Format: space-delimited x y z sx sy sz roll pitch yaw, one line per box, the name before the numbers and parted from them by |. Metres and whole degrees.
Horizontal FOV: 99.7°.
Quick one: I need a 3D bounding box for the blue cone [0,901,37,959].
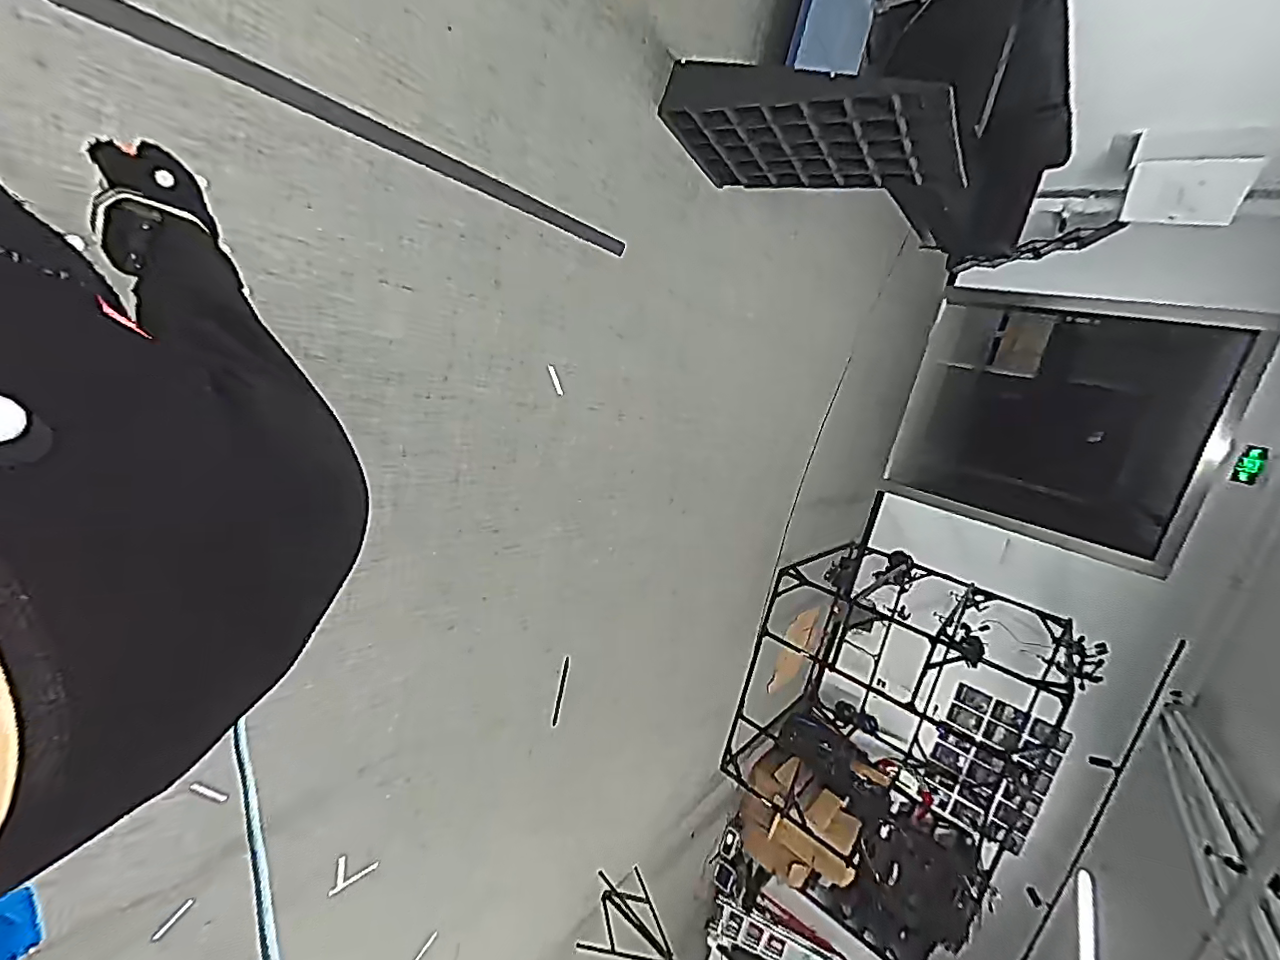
blue cone | -1.336 1.090 1.084 0.192 0.380 0.193 -9 115 -52
